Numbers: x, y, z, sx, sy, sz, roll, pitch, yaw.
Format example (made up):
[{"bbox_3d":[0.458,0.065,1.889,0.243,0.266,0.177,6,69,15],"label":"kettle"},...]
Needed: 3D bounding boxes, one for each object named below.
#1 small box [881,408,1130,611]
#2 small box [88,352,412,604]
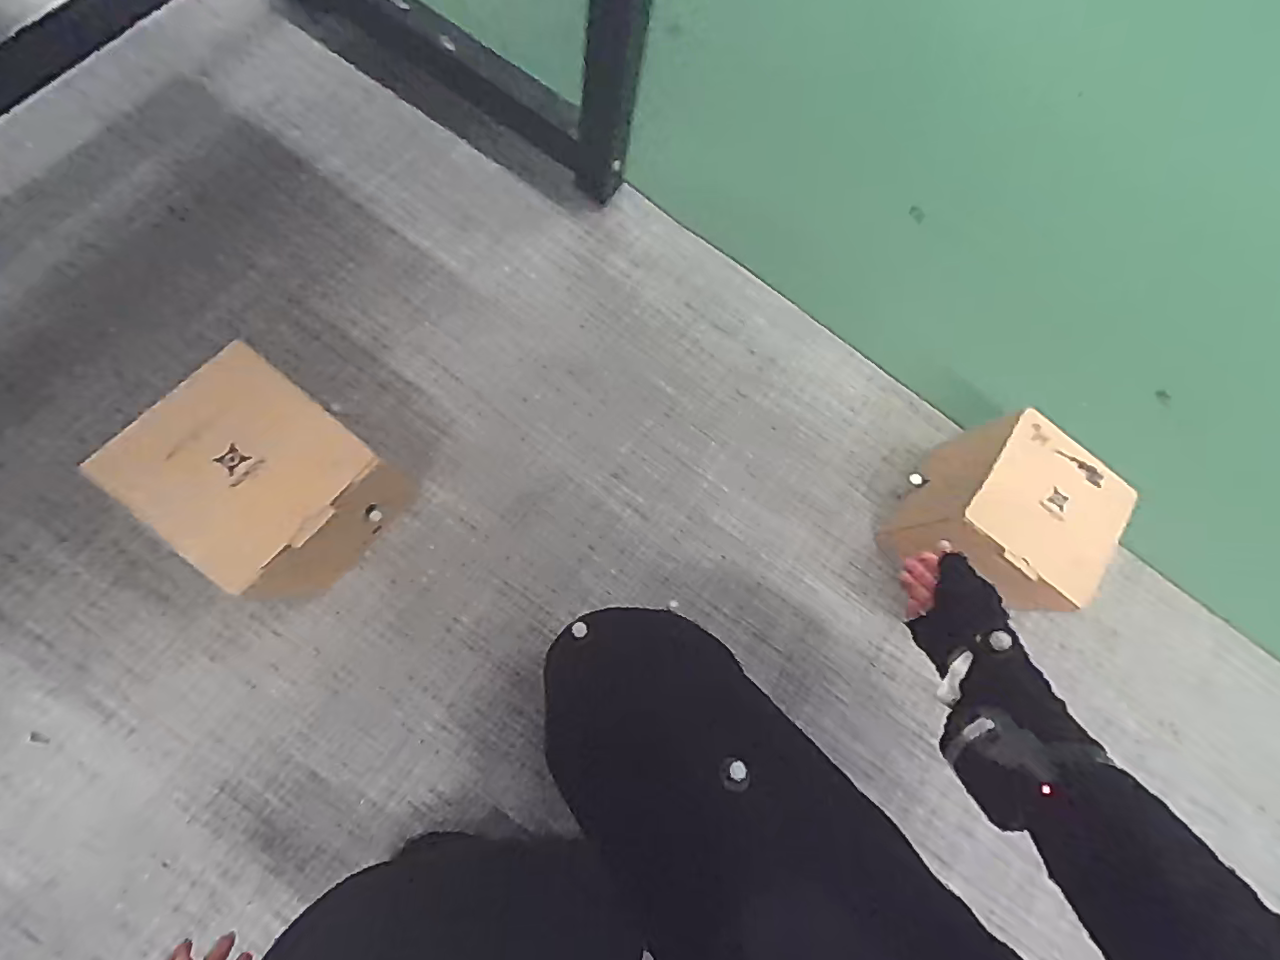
[{"bbox_3d":[0.443,0.047,0.686,0.168,0.176,0.179,40,75,1],"label":"small box"},{"bbox_3d":[-0.369,0.009,0.557,0.179,0.176,0.168,38,73,2],"label":"small box"}]
